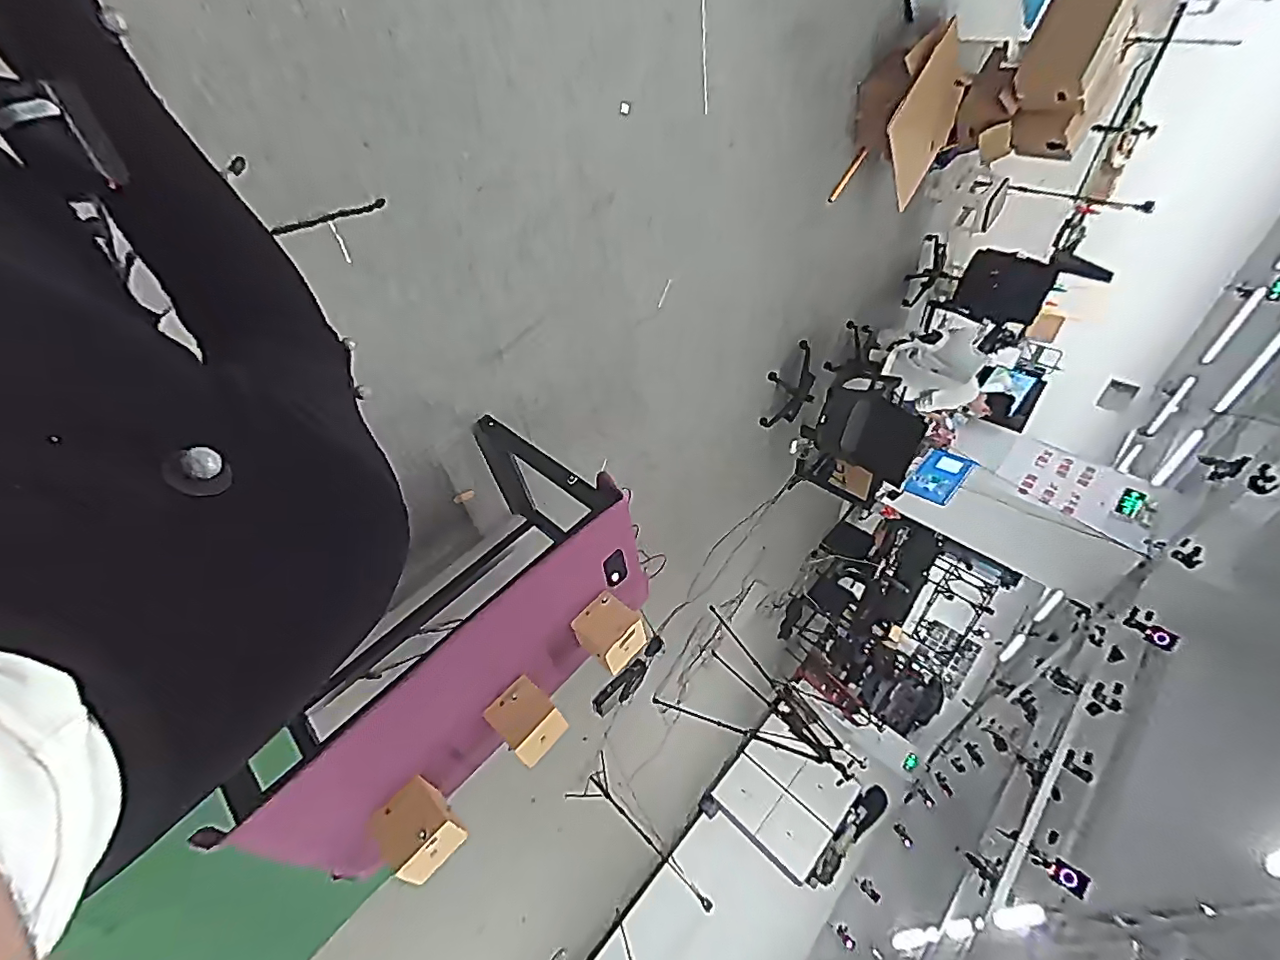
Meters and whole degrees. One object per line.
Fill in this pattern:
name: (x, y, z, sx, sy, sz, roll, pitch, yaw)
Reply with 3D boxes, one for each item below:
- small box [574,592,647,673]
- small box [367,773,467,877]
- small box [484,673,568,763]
small box: (-0.101, 0.500, 1.805, 0.168, 0.176, 0.179, -40, 145, -24)
small box: (-0.621, 0.960, 1.510, 0.168, 0.176, 0.179, -40, 145, -26)
small box: (-0.352, 0.733, 1.675, 0.168, 0.176, 0.179, -41, 144, -25)
